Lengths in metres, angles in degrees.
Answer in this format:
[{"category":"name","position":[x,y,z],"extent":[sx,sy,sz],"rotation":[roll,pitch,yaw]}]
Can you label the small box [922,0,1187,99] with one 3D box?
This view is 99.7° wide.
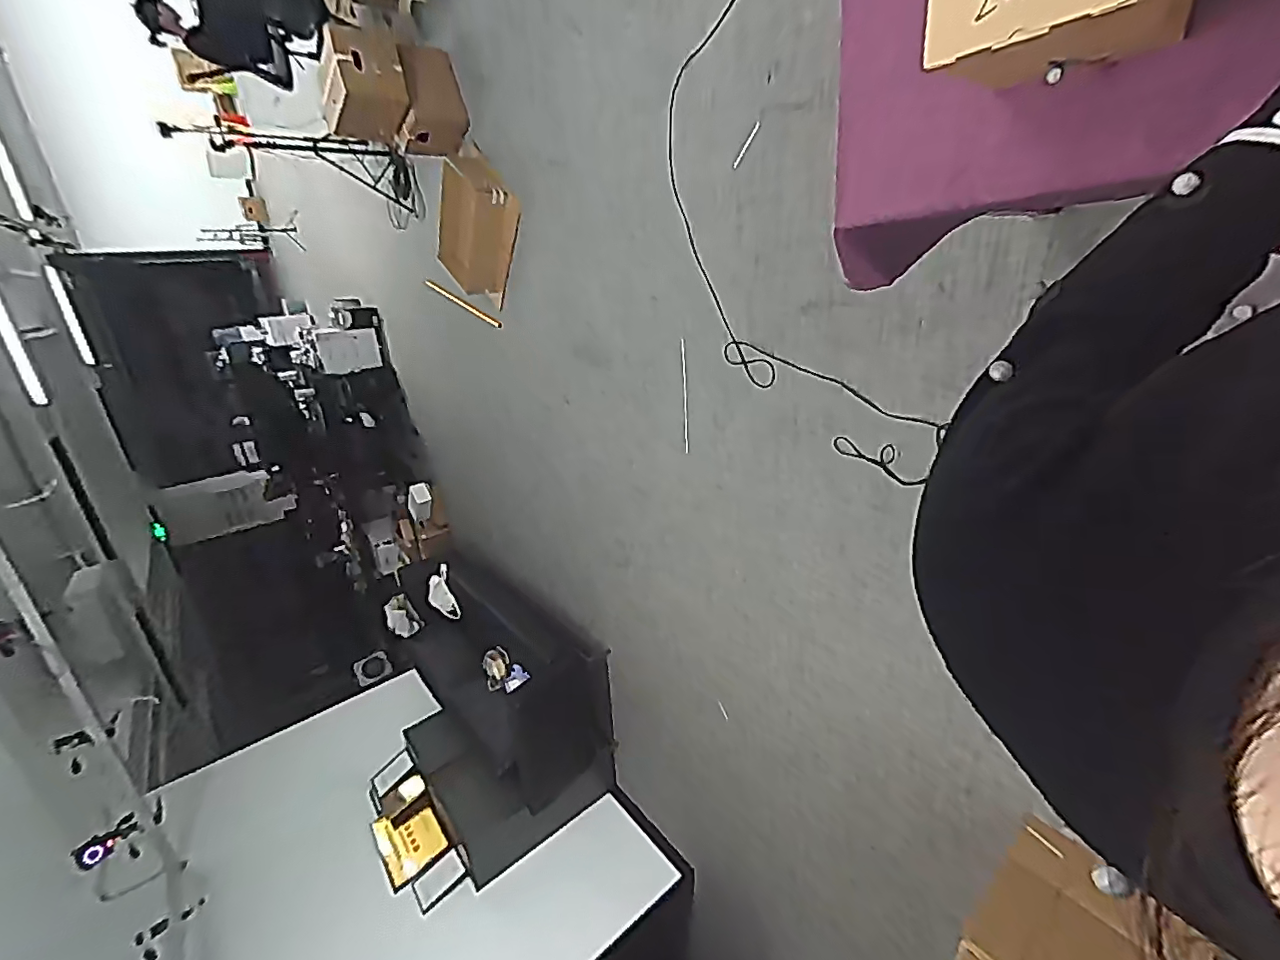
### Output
[{"category":"small box","position":[0.390,-0.484,0.497],"extent":[0.168,0.176,0.179],"rotation":[20,121,48]}]
